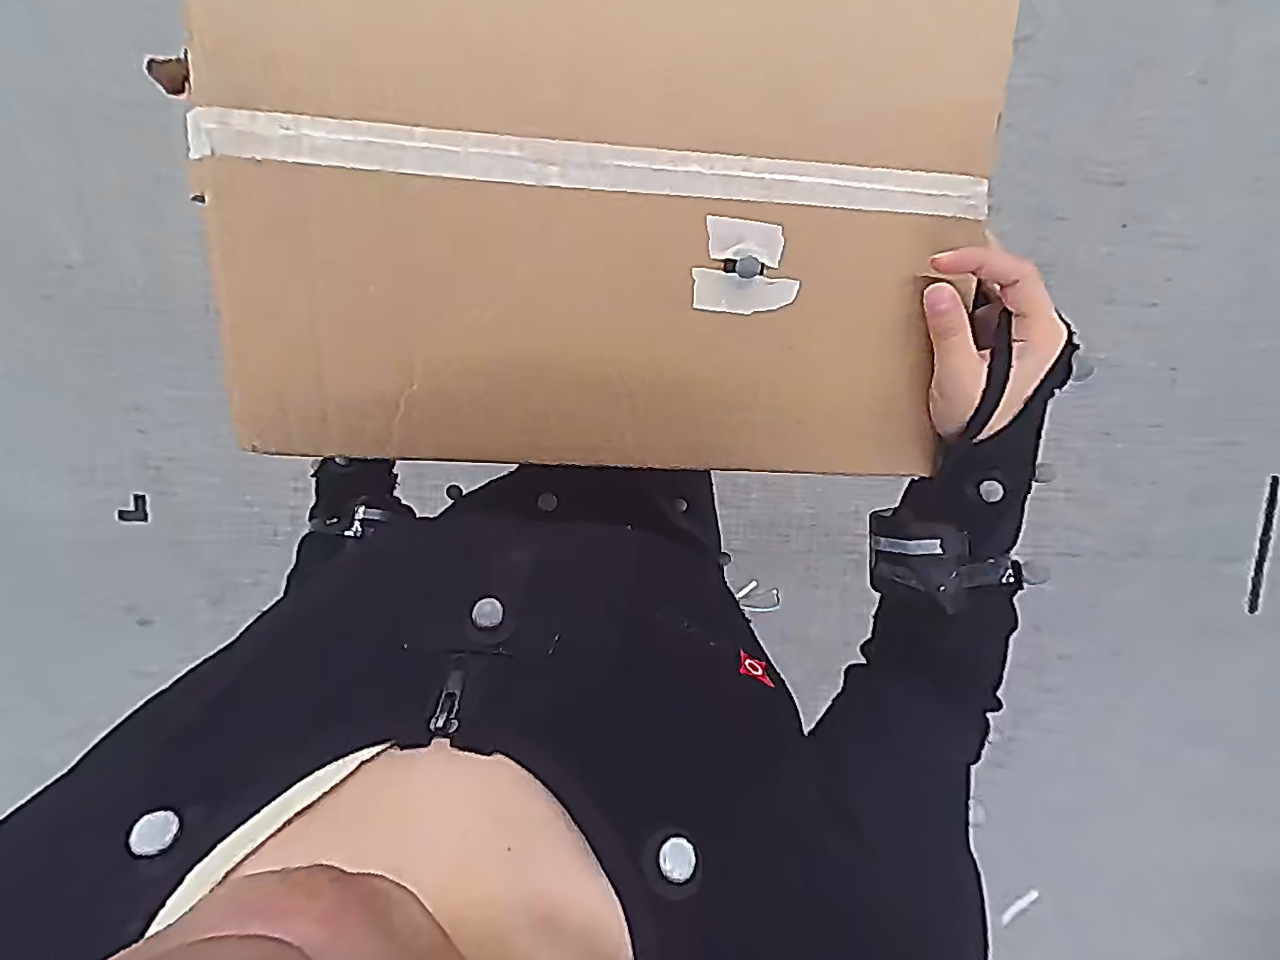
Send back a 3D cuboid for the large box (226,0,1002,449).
[{"bbox_3d":[-0.022,-0.201,0.435,0.408,0.320,0.320,1,103,-7],"label":"large box"}]
